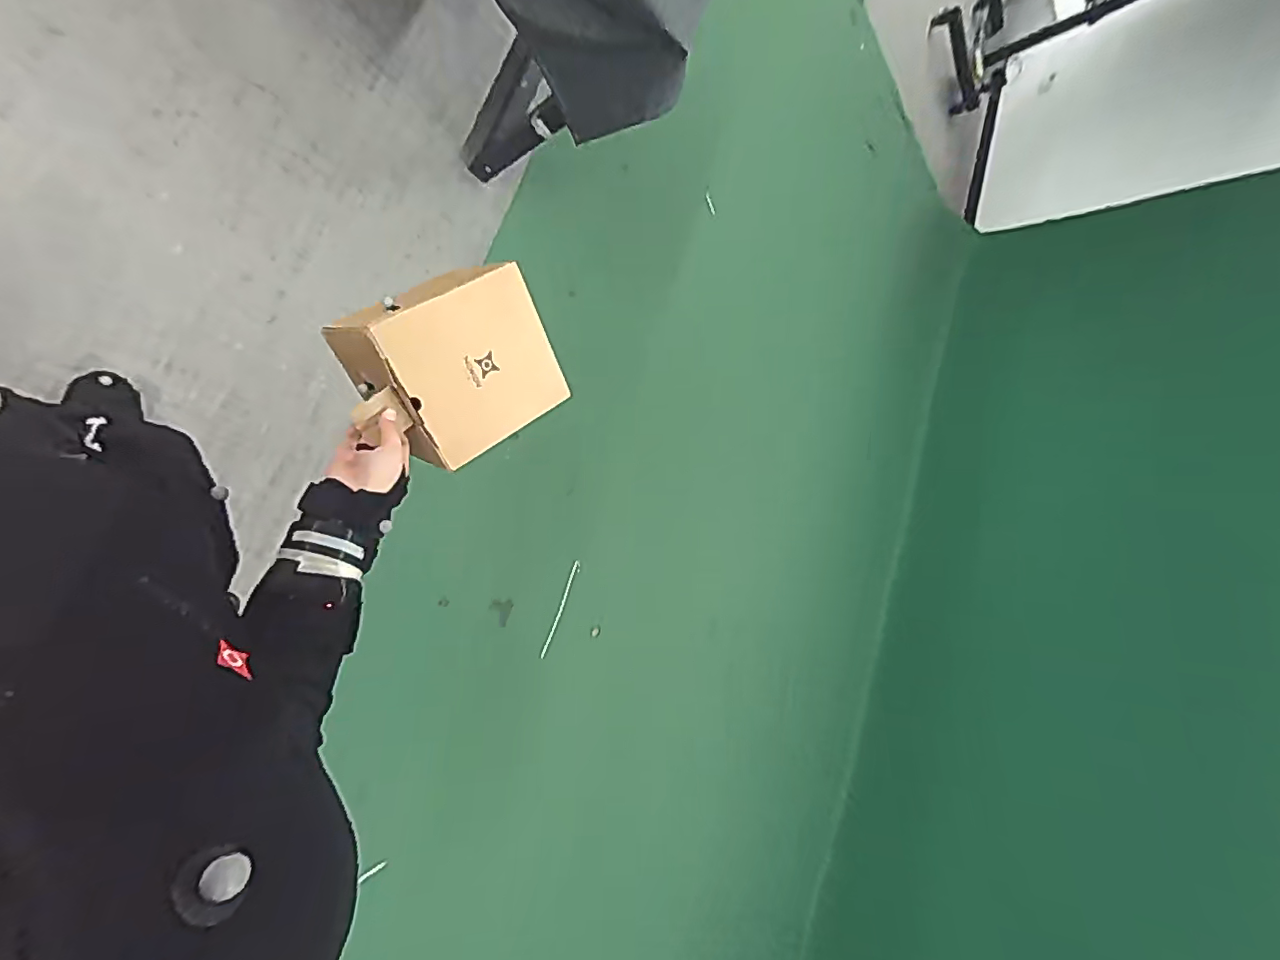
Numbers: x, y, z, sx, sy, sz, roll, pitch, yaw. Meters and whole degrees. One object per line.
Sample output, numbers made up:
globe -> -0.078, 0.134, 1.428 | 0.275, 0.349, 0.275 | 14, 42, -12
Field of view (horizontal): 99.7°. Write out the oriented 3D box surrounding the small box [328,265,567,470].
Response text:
small box -> -0.222, -0.139, 0.633 | 0.179, 0.176, 0.168 | -39, 126, -28
